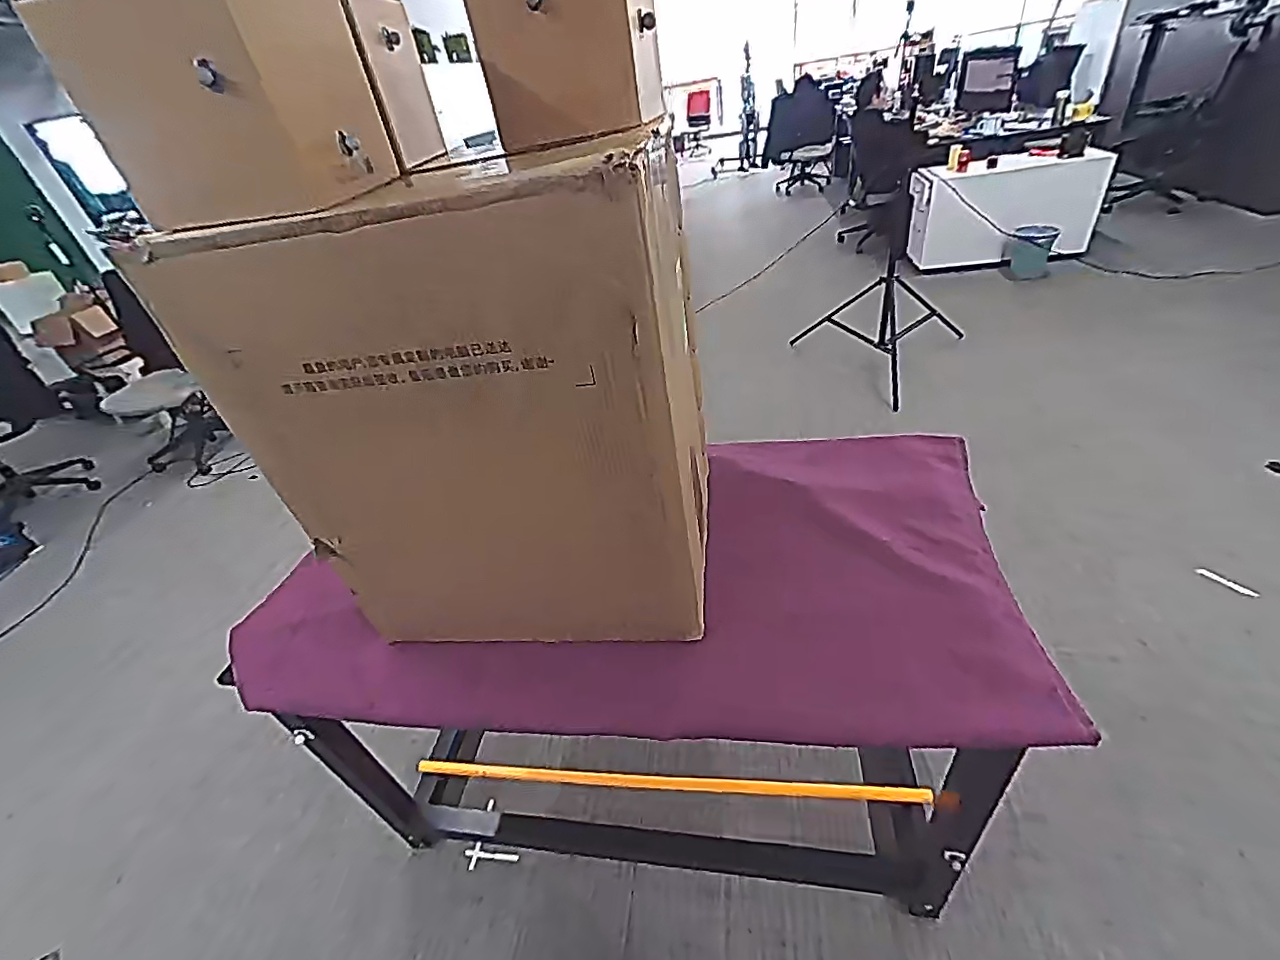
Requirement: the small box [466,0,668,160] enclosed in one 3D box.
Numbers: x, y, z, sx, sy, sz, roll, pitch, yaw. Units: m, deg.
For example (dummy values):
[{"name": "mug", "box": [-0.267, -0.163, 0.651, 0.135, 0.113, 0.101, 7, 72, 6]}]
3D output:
[{"name": "small box", "box": [-0.070, -0.495, 0.633, 0.179, 0.176, 0.168, -1, 38, 15]}]
